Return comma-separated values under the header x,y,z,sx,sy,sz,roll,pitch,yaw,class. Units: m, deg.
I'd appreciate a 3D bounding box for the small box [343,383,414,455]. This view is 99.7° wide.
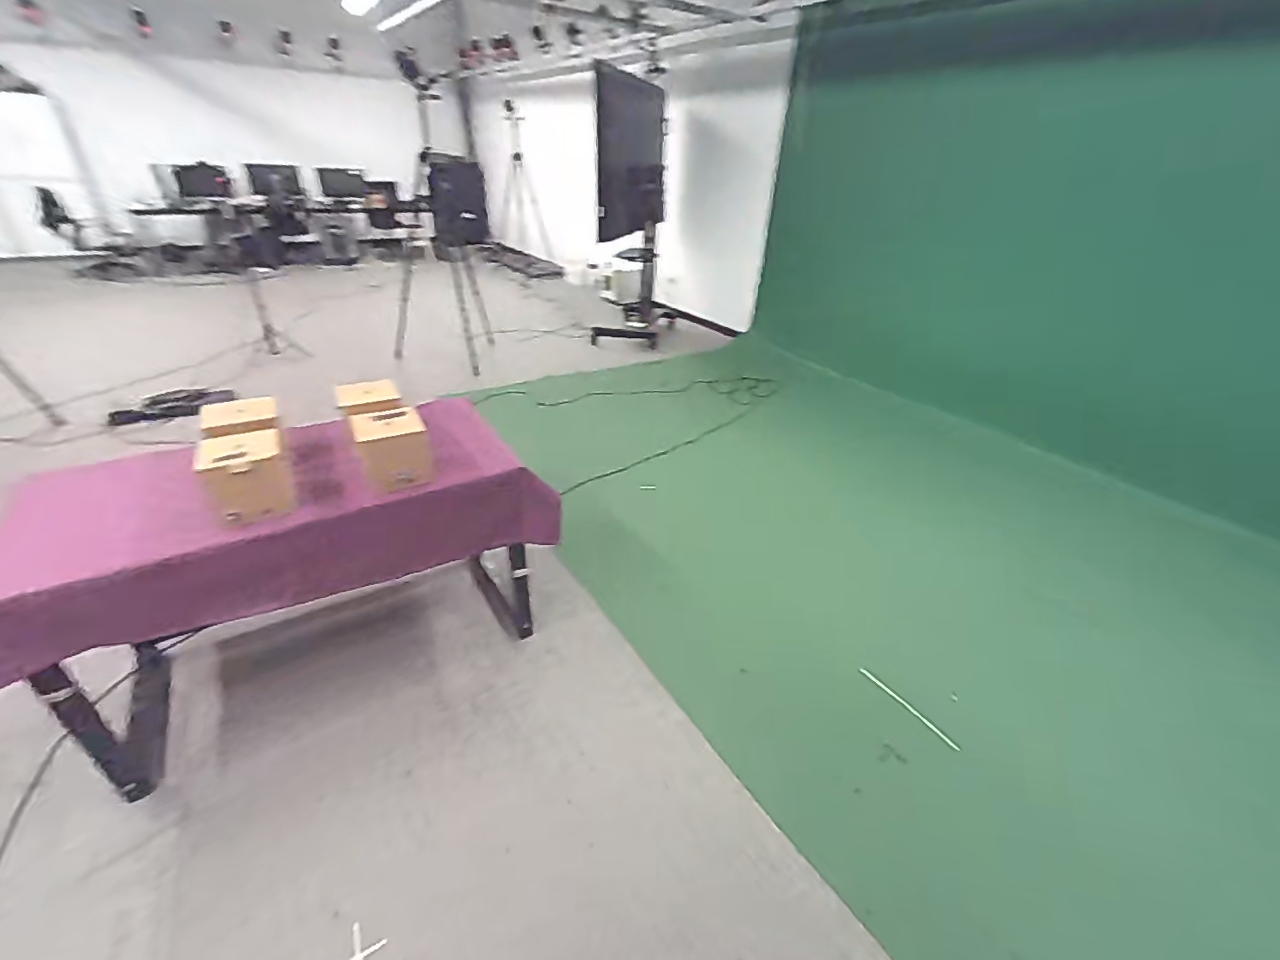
x,y,z,sx,sy,sz,roll,pitch,yaw,class
-0.829,-0.191,1.719,0.168,0.176,0.179,-15,34,-26,small box

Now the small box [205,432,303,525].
x,y,z,sx,sy,sz,roll,pitch,yaw,class
-0.980,0.000,1.385,0.168,0.176,0.179,-15,34,-27,small box

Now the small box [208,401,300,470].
x,y,z,sx,sy,sz,roll,pitch,yaw,class
-1.109,-0.112,1.567,0.179,0.176,0.168,-14,35,-26,small box
